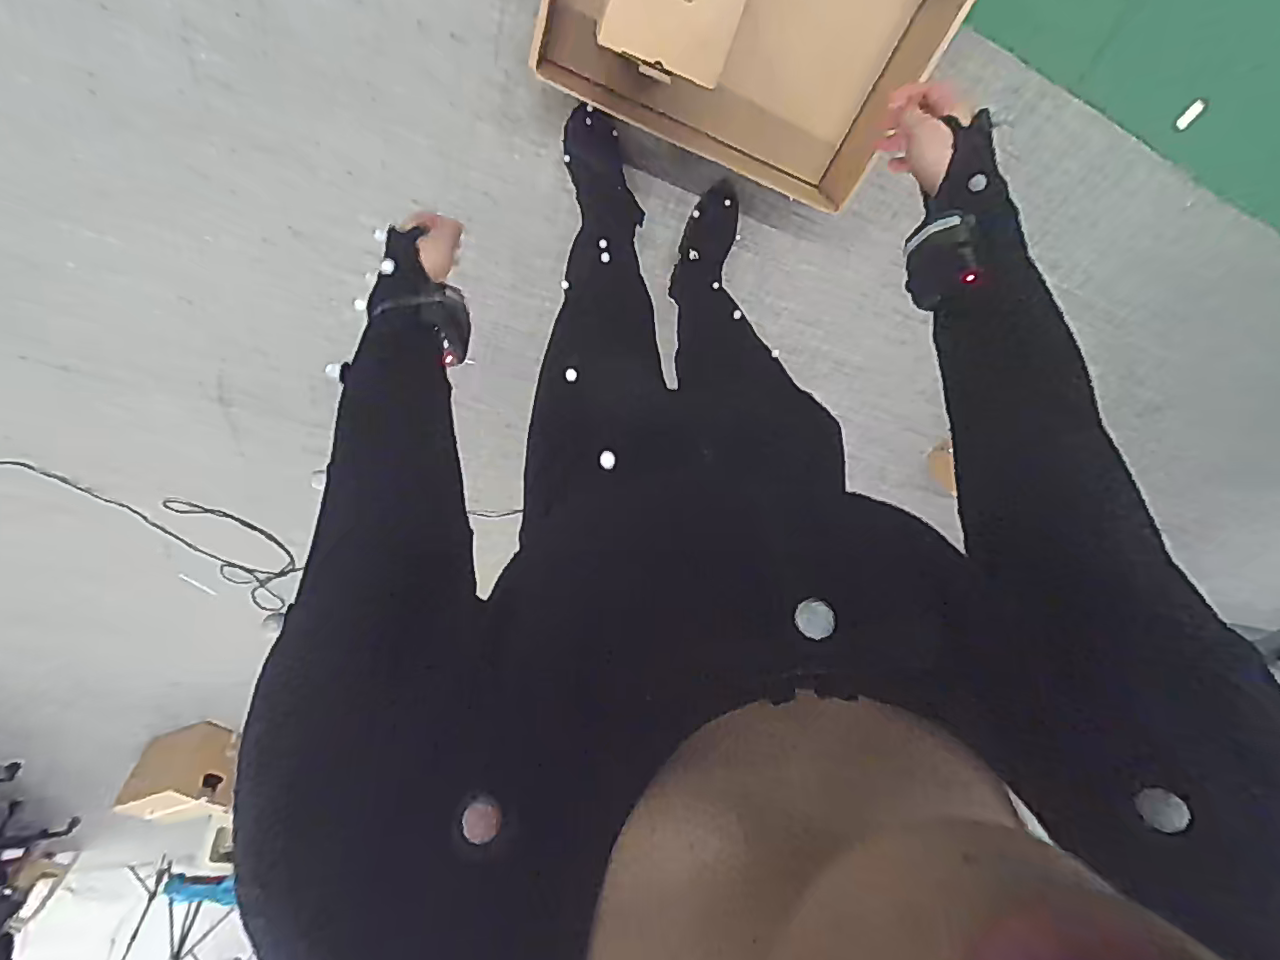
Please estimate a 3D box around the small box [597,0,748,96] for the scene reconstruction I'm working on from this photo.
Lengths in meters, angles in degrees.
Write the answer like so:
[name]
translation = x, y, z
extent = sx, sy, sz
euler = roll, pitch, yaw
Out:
[small box]
translation = 0.046, -0.649, 0.708
extent = 0.168, 0.176, 0.179
euler = 11, 133, -16
